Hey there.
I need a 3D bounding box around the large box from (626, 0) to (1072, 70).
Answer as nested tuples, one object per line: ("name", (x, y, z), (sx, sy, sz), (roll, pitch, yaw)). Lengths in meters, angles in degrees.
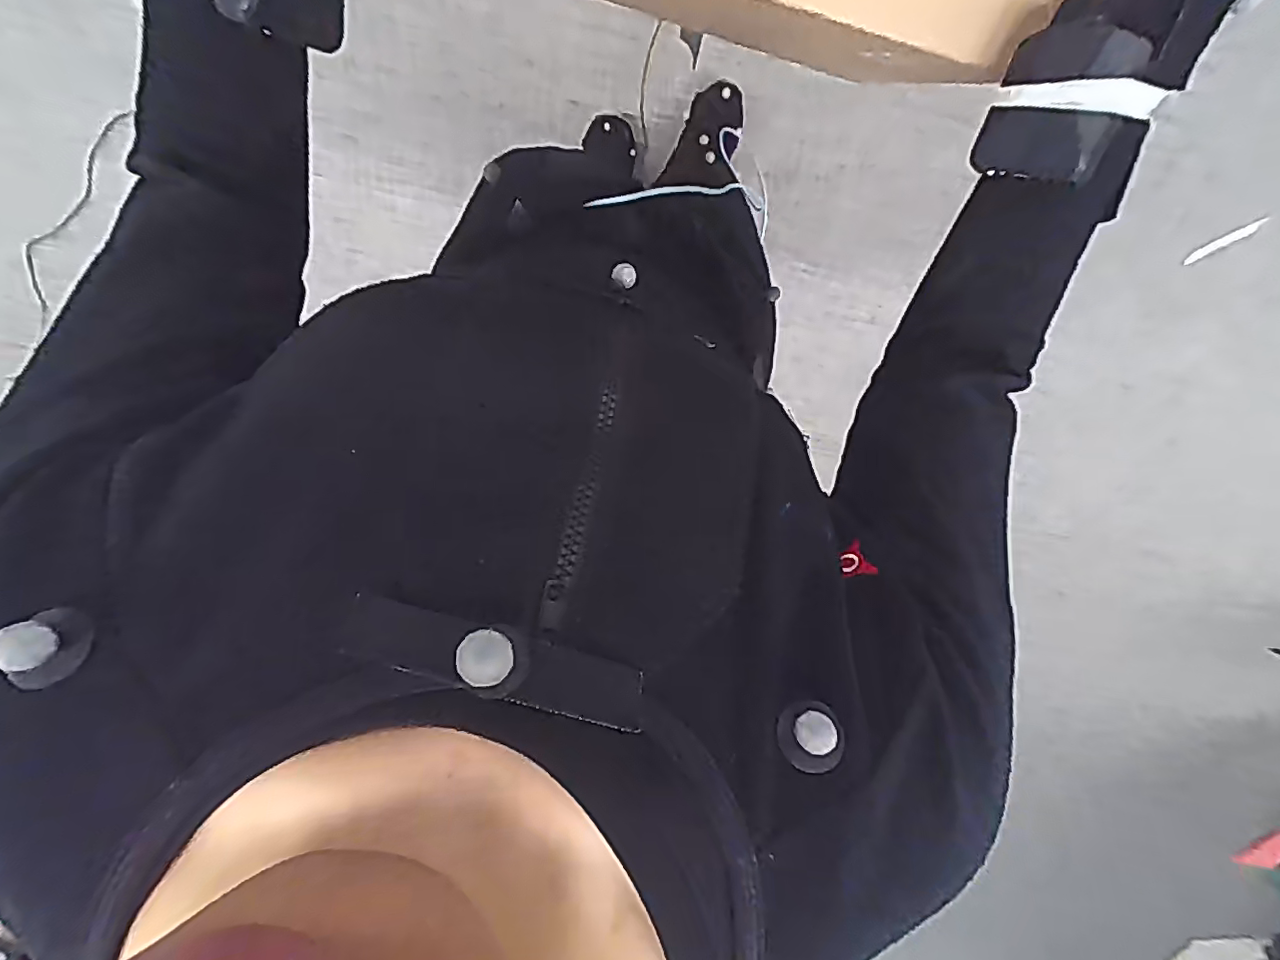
("large box", (0.071, -0.483, 0.319), (0.408, 0.320, 0.320), (11, 127, -8))
